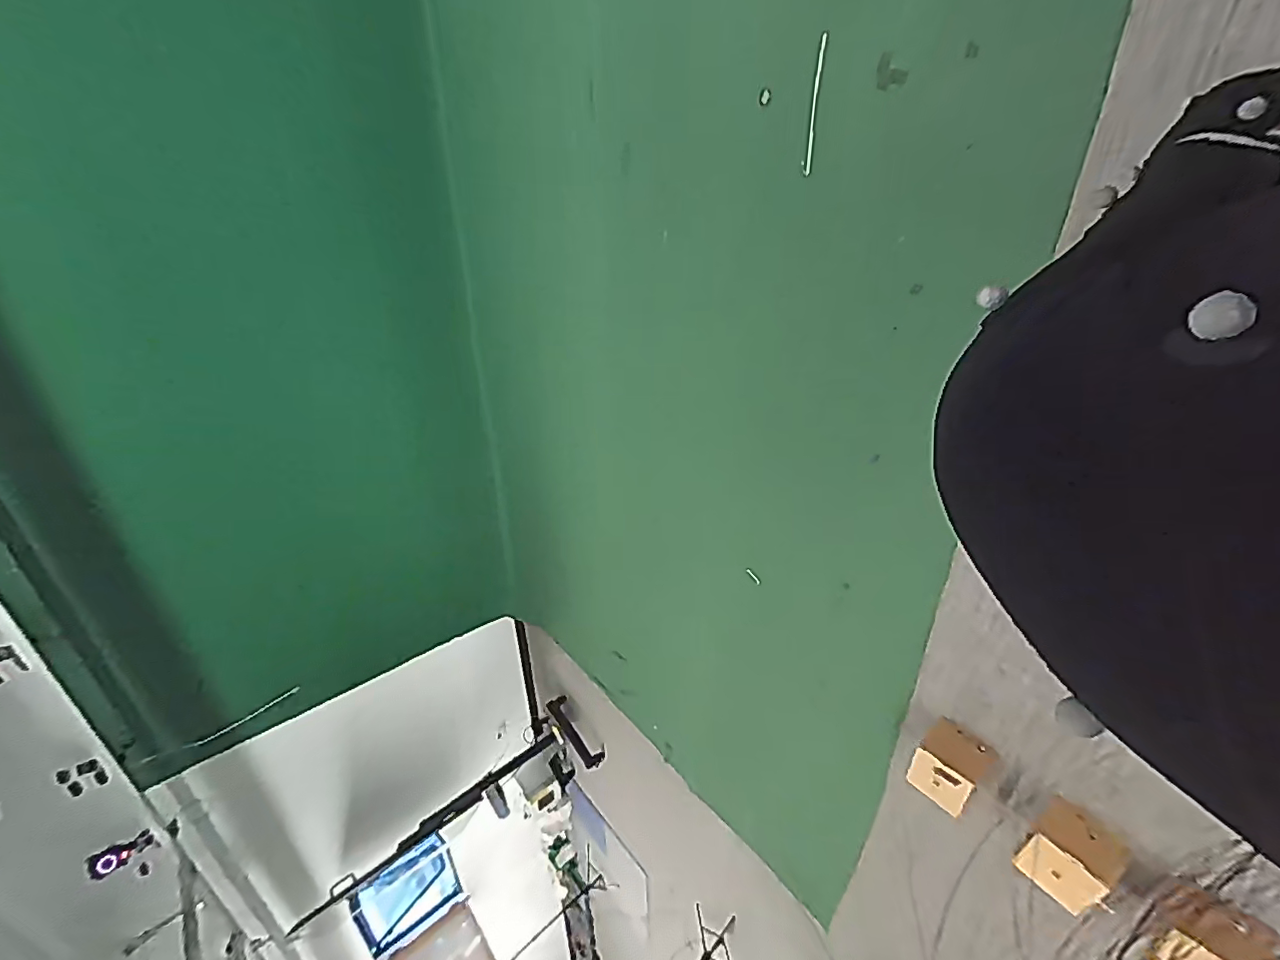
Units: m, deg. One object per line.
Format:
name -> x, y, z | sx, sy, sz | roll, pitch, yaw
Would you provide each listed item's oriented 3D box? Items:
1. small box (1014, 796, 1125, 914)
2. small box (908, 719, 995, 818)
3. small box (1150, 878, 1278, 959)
small box -> 1.181, 1.022, 1.484 | 0.168, 0.176, 0.179 | 35, 133, 39
small box -> 0.976, 0.894, 1.692 | 0.168, 0.176, 0.179 | 30, 131, 42
small box -> 1.363, 1.112, 1.284 | 0.168, 0.176, 0.179 | 24, 125, 44
